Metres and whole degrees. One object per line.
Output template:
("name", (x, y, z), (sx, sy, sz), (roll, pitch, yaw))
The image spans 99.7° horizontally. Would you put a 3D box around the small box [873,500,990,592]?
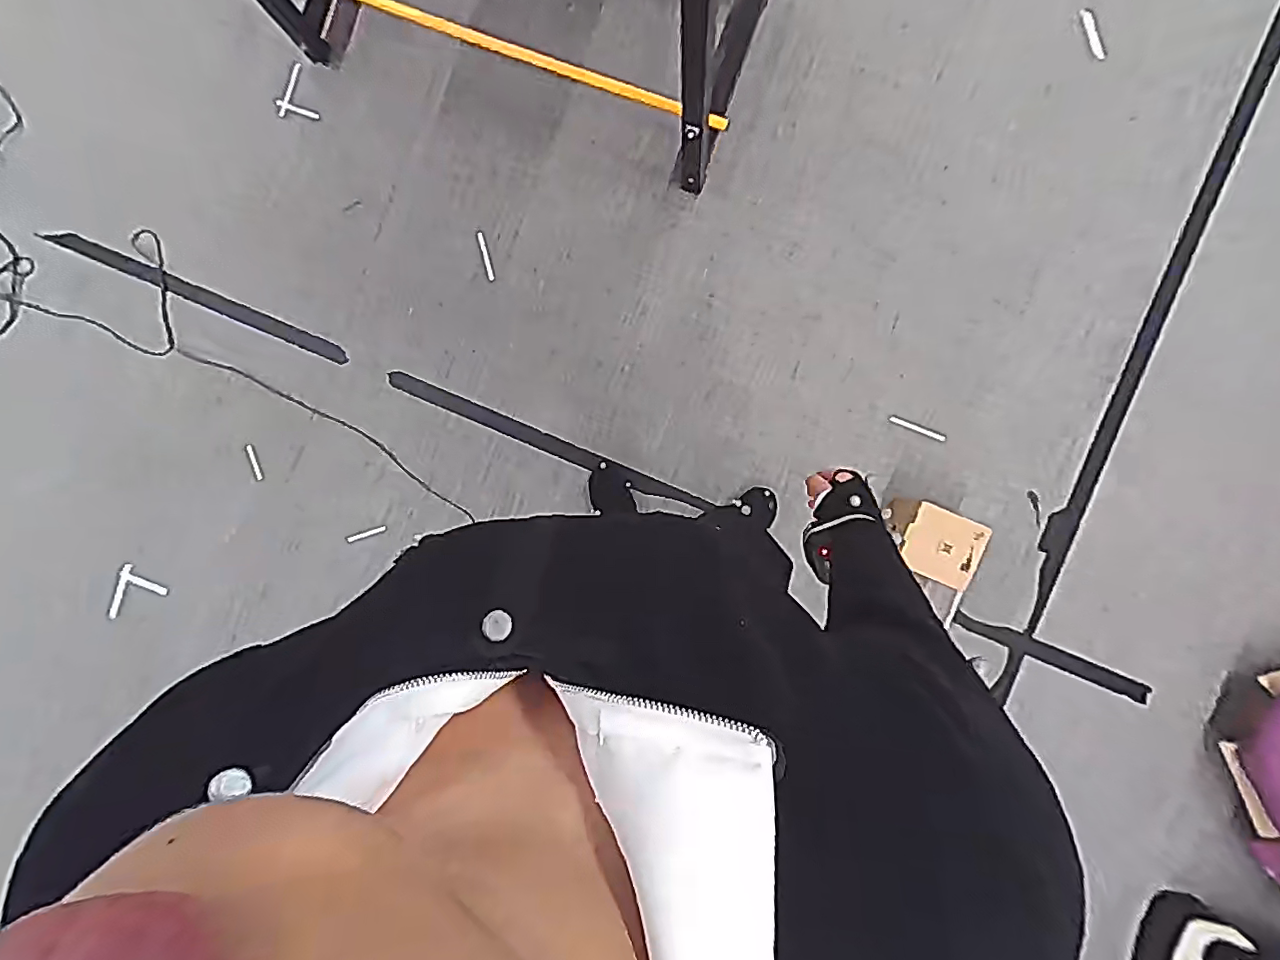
("small box", (0.716, 0.157, 1.353), (0.179, 0.176, 0.168), (24, 92, 4))
